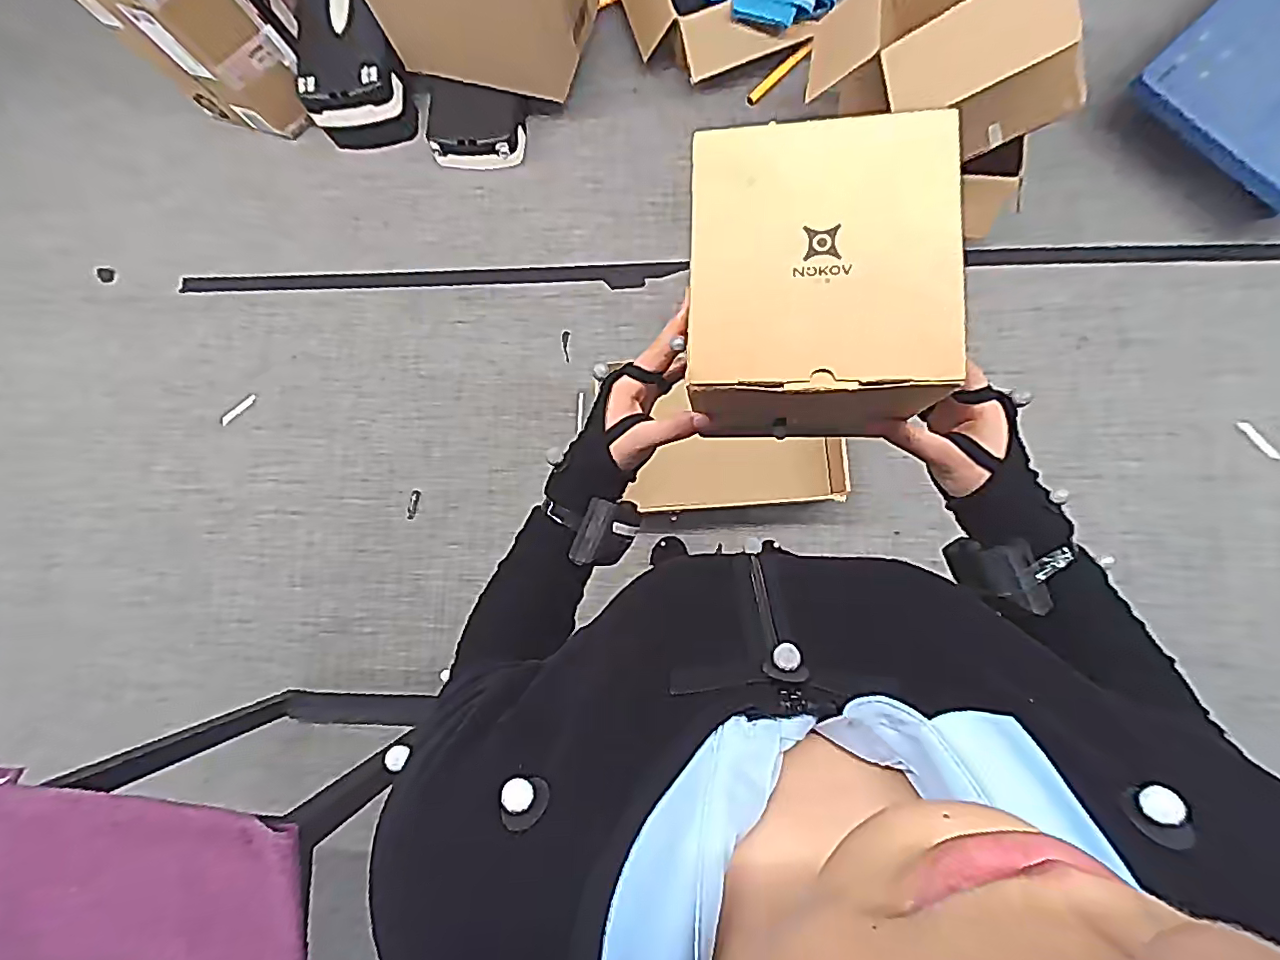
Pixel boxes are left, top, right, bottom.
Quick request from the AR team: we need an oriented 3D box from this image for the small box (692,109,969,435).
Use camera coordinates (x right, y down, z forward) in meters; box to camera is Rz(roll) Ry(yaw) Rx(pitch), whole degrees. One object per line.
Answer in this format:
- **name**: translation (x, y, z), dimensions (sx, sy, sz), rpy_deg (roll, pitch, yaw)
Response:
- **small box**: translation (0.126, -0.137, 0.416), dimensions (0.168, 0.176, 0.179), rpy_deg (0, 85, 9)
